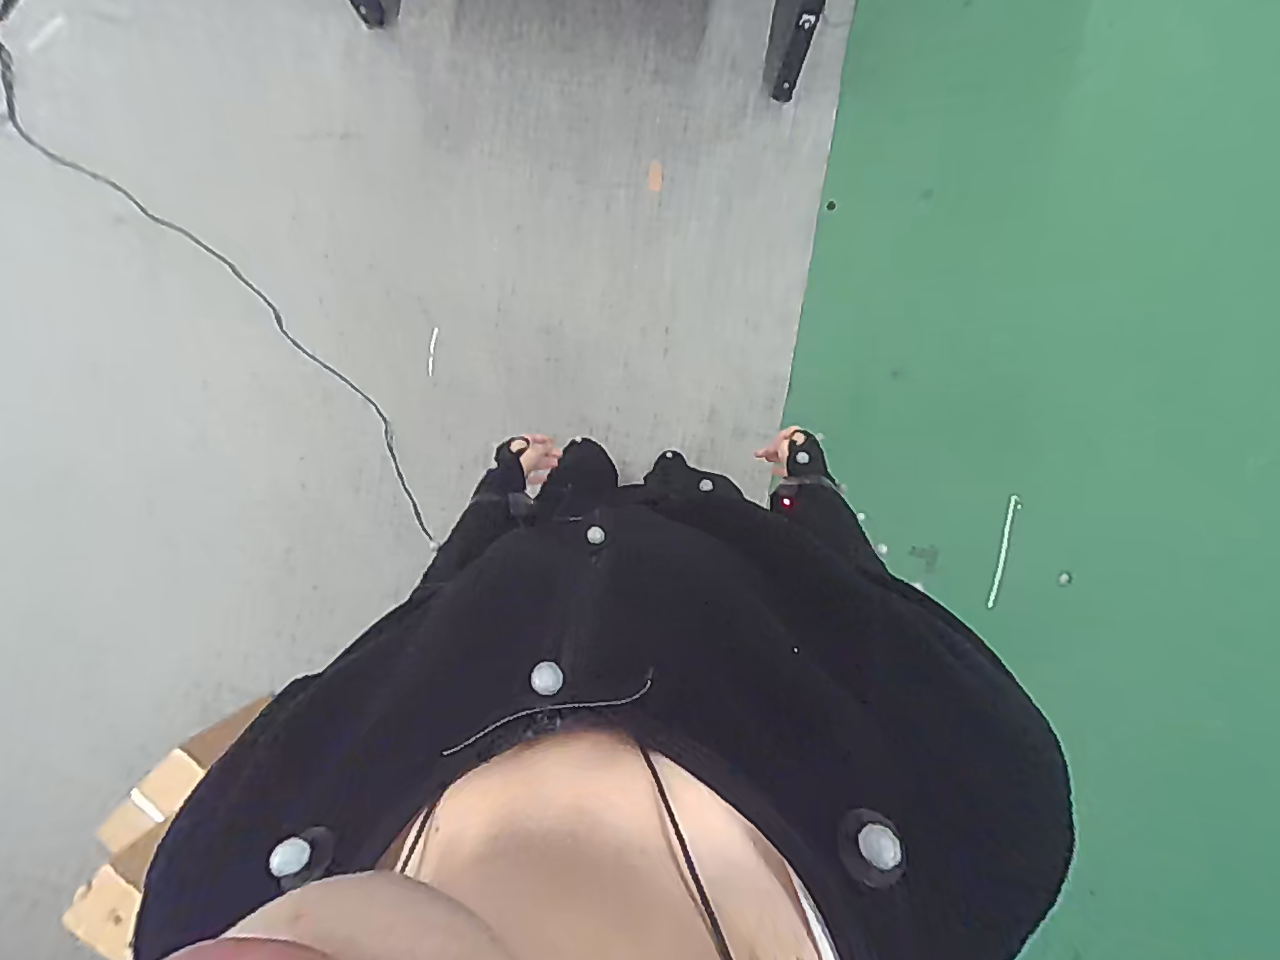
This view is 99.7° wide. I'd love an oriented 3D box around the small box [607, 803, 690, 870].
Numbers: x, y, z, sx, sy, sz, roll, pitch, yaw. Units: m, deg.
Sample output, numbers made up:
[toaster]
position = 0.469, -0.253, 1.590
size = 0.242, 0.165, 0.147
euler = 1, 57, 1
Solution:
[small box]
position = 0.015, 0.816, 1.144
size = 0.168, 0.176, 0.179
euler = 1, 92, 2
